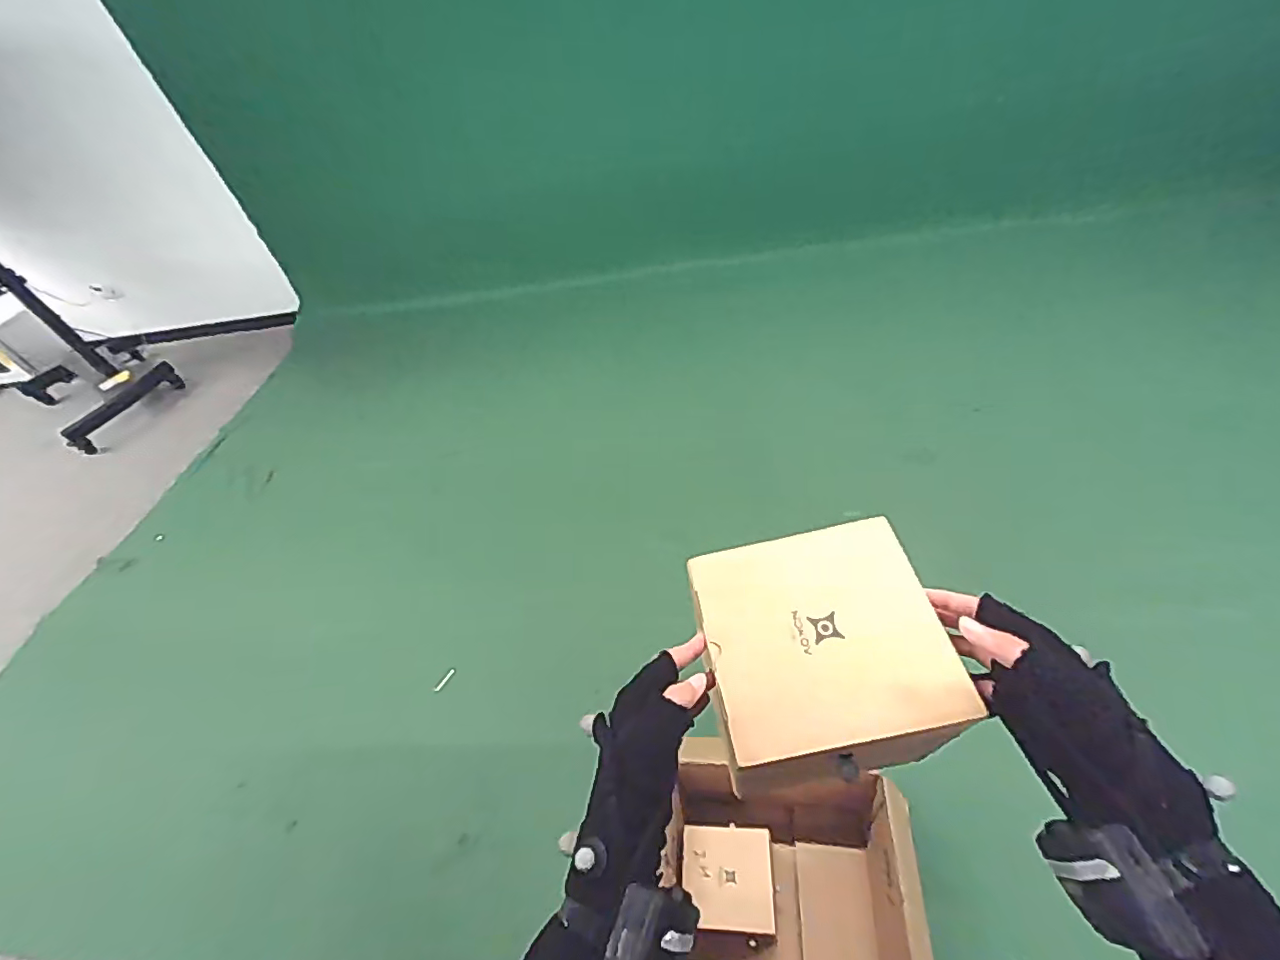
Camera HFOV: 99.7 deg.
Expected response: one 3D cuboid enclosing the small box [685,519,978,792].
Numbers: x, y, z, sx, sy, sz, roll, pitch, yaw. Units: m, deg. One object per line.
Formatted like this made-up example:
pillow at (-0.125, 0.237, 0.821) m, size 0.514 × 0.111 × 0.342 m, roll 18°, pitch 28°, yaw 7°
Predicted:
small box at (0.146, 0.161, 0.478) m, size 0.179 × 0.176 × 0.168 m, roll -14°, pitch 53°, yaw 2°
